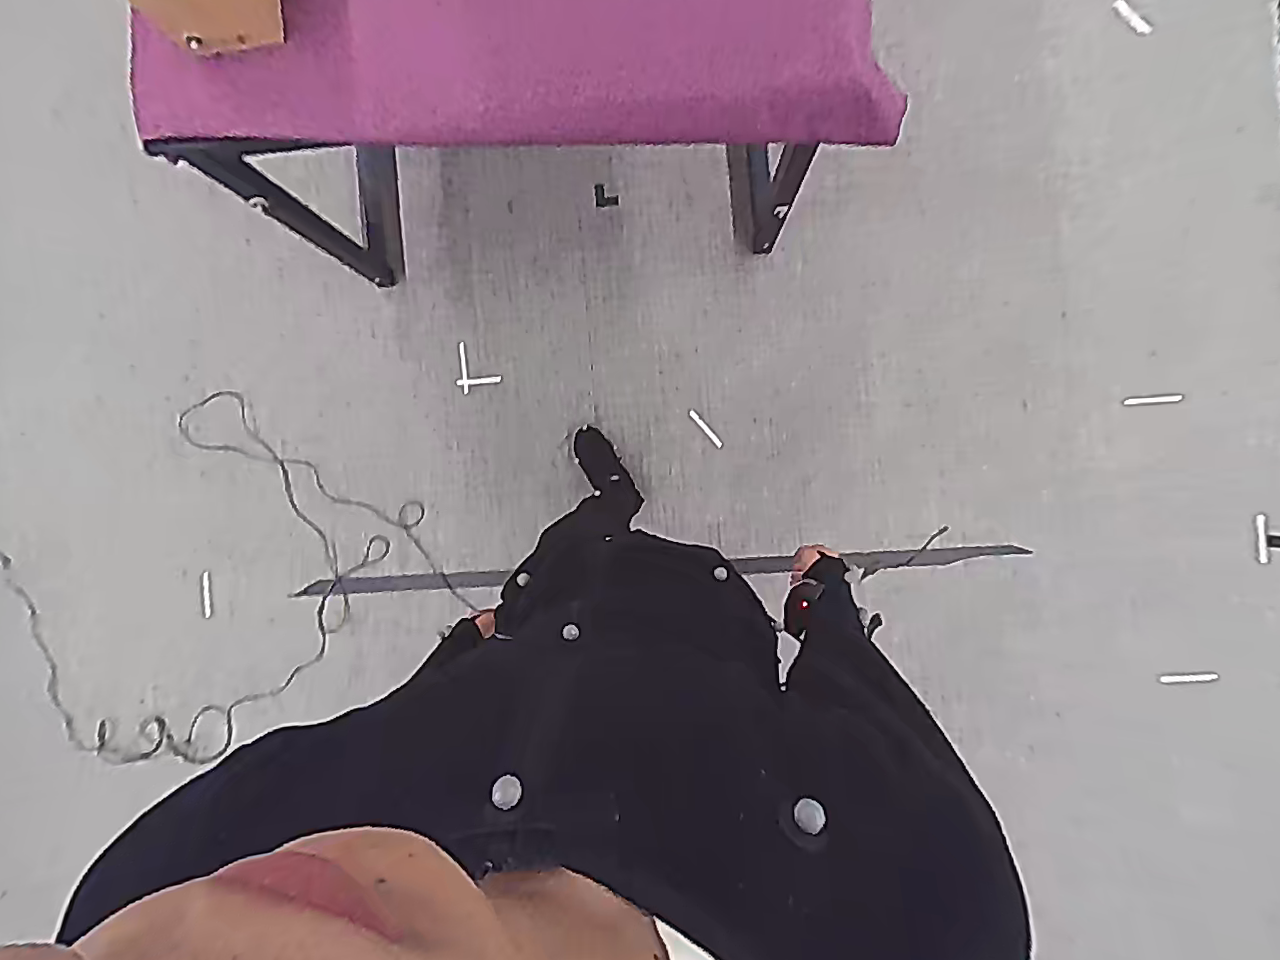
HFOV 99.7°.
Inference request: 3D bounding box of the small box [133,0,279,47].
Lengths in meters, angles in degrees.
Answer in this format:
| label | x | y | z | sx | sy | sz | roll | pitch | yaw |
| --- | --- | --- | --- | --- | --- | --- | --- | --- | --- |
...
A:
| label | x | y | z | sx | sy | sz | roll | pitch | yaw |
| --- | --- | --- | --- | --- | --- | --- | --- | --- | --- |
| small box | -0.688 | -0.806 | 0.825 | 0.168 | 0.176 | 0.179 | -6 | 89 | 2 |
